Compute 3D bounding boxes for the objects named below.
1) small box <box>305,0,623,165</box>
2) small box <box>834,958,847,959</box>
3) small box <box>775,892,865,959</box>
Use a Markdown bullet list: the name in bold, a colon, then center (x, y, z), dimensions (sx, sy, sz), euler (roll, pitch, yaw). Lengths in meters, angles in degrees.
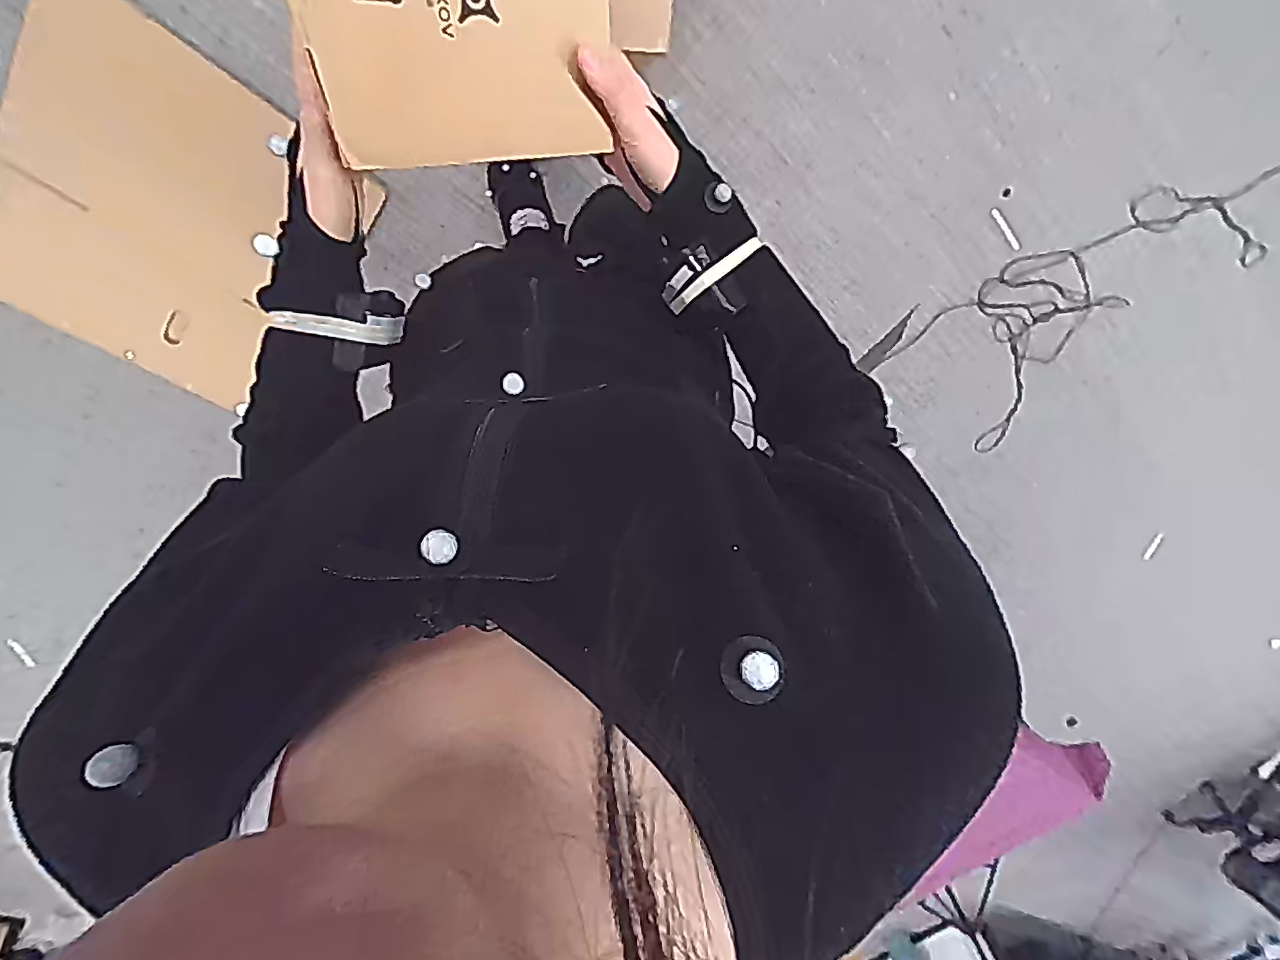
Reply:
- **small box**: center (-0.119, -0.322, 0.358), dimensions (0.179, 0.176, 0.168), euler (-12, 132, -14)
- **small box**: center (0.568, 1.484, 1.518), dimensions (0.168, 0.176, 0.179), euler (-42, 119, 16)
- **small box**: center (0.550, 1.401, 1.658), dimensions (0.179, 0.176, 0.168), euler (37, 109, -26)
